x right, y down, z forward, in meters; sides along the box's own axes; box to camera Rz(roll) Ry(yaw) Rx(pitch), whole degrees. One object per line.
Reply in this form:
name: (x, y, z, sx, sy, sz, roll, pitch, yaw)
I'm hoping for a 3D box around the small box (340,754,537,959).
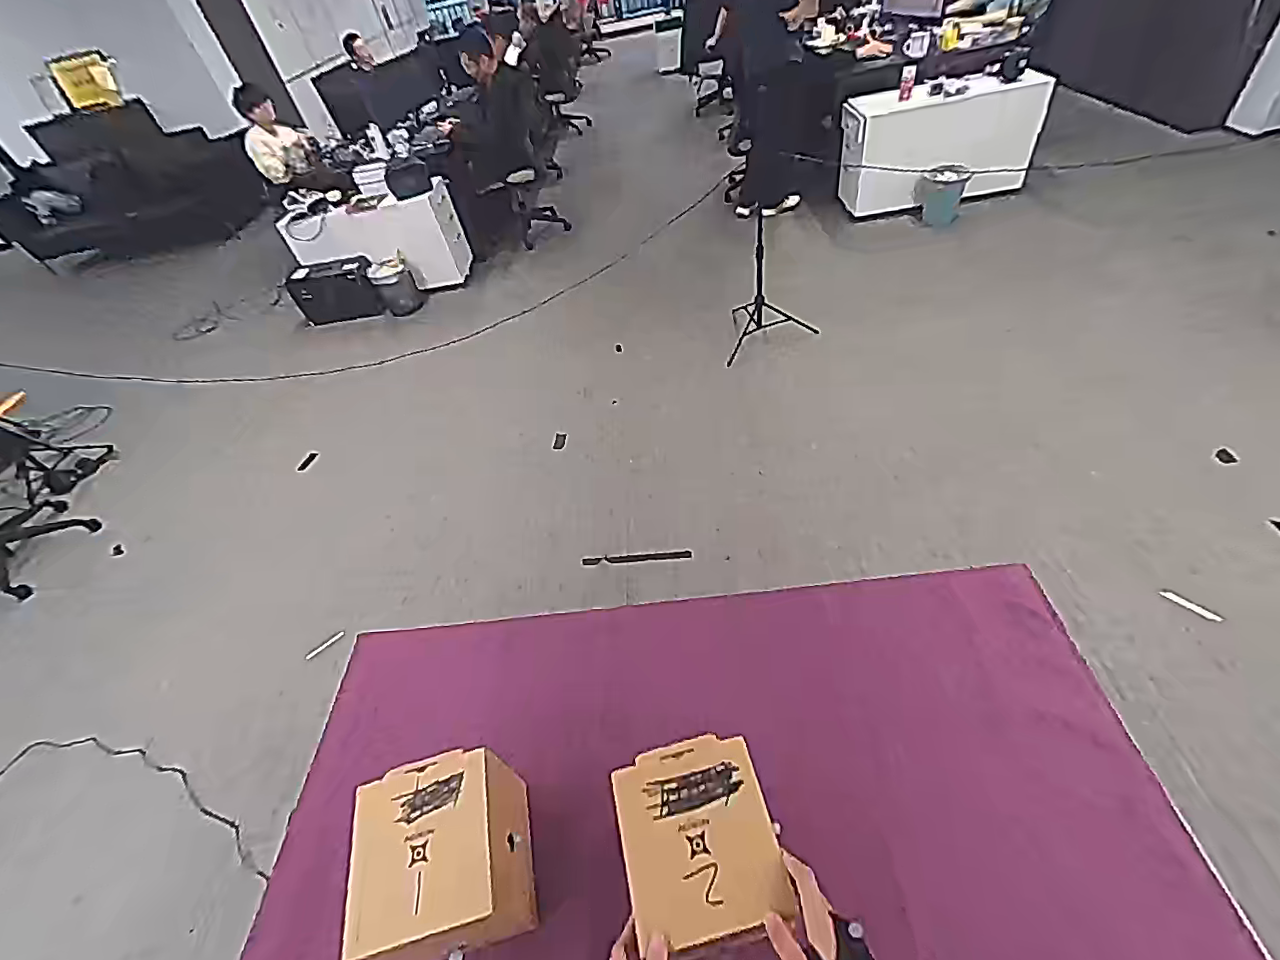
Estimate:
small box: (-0.237, 0.478, 0.673, 0.168, 0.176, 0.179, -17, 47, -3)
